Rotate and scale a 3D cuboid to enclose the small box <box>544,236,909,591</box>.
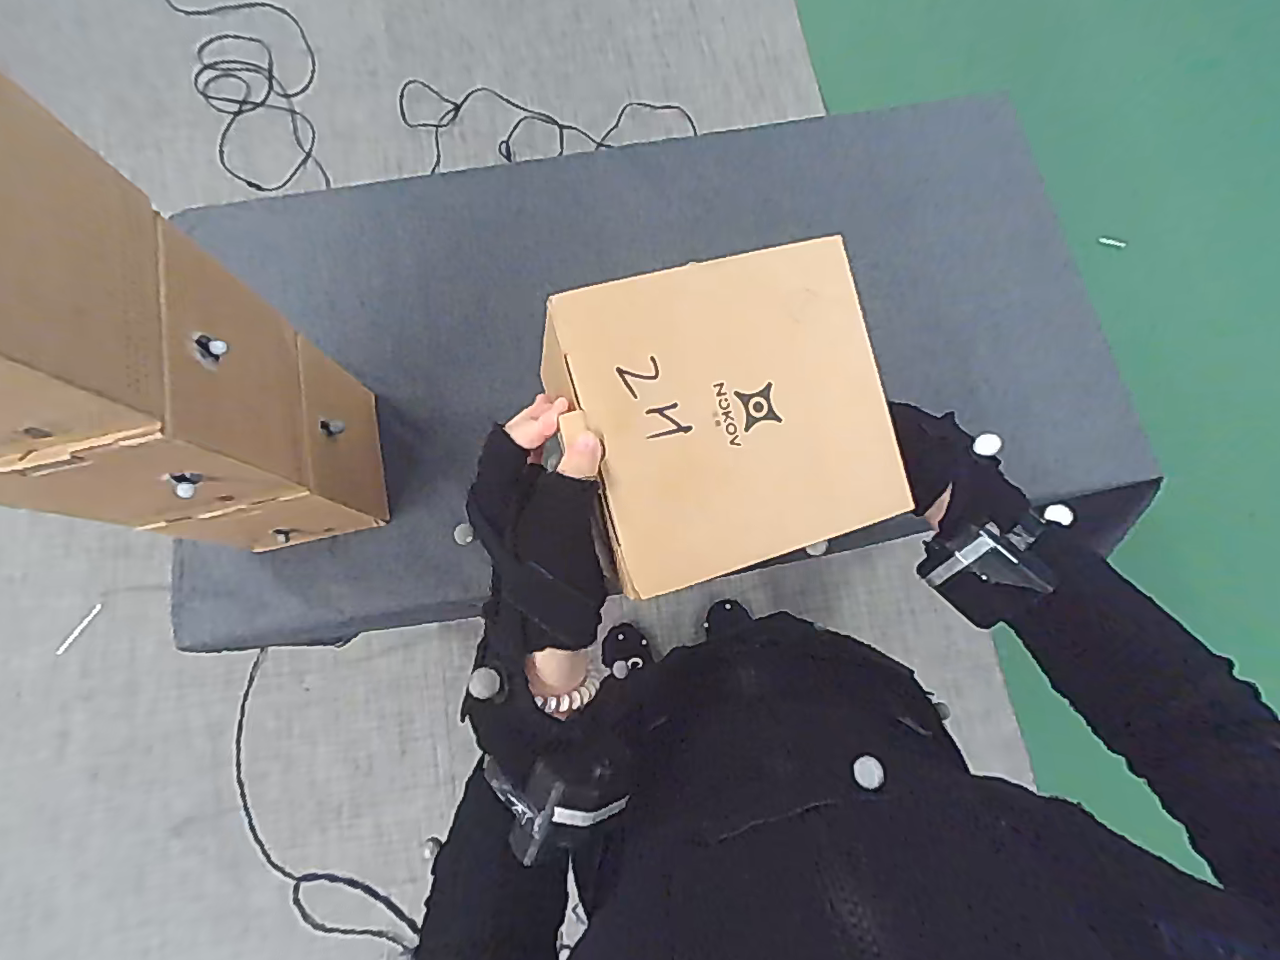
[{"bbox_3d":[0.039,-0.039,0.371,0.179,0.176,0.168,-15,91,-11],"label":"small box"}]

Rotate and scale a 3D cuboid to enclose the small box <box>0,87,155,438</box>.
[{"bbox_3d":[-0.404,-0.122,0.282,0.168,0.176,0.179,-13,77,-4],"label":"small box"}]

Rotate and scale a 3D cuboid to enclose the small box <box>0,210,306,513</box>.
[{"bbox_3d":[-0.402,-0.077,0.440,0.168,0.176,0.179,-12,77,-4],"label":"small box"}]

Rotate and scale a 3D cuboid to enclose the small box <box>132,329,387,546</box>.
[{"bbox_3d":[-0.403,-0.036,0.598,0.168,0.176,0.179,-12,77,-3],"label":"small box"}]
